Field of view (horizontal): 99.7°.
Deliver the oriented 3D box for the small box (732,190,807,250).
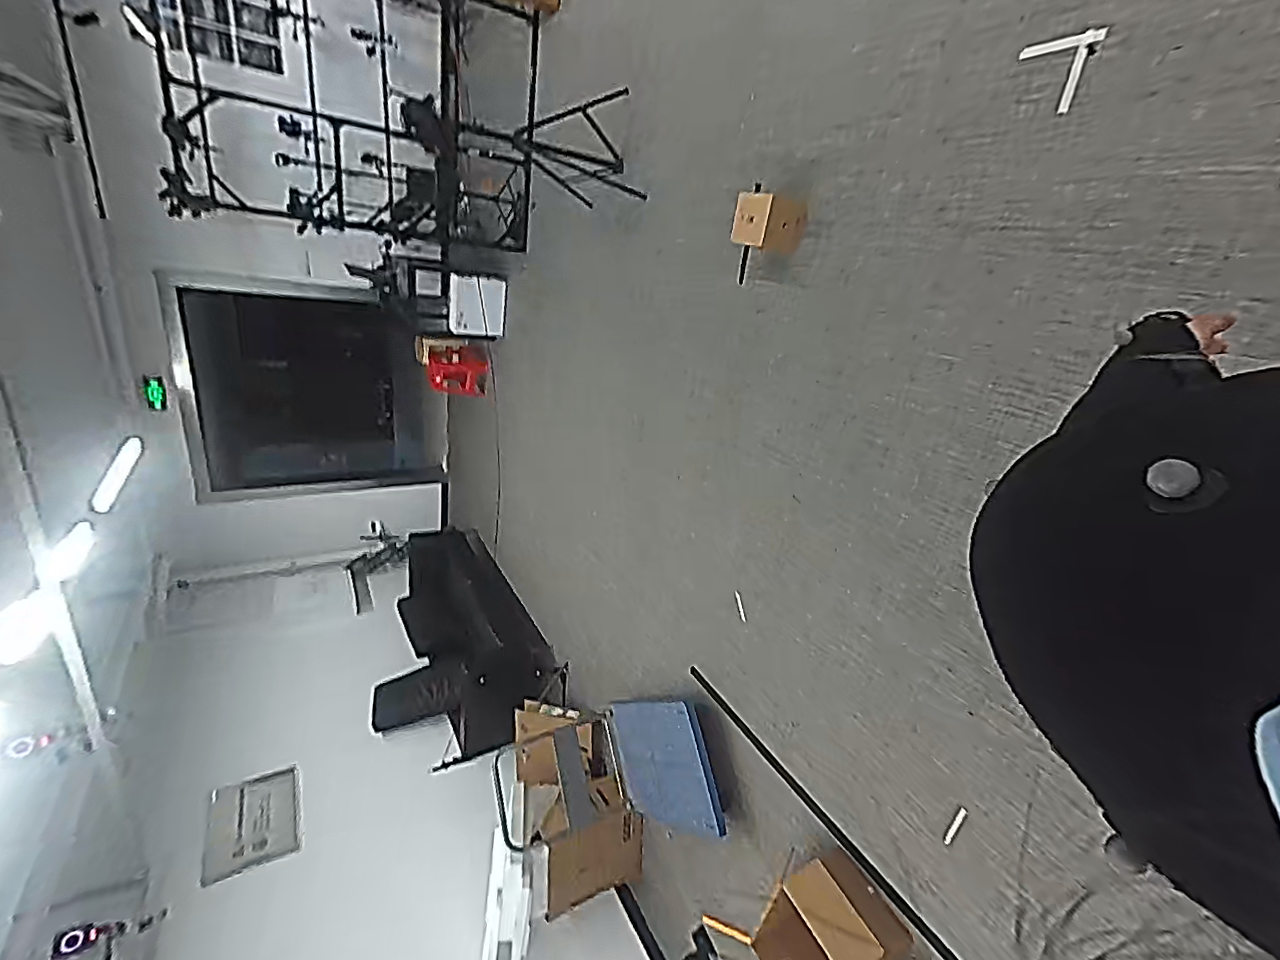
[{"bbox_3d":[0.461,-0.920,1.917,0.179,0.176,0.168,41,128,49],"label":"small box"}]
